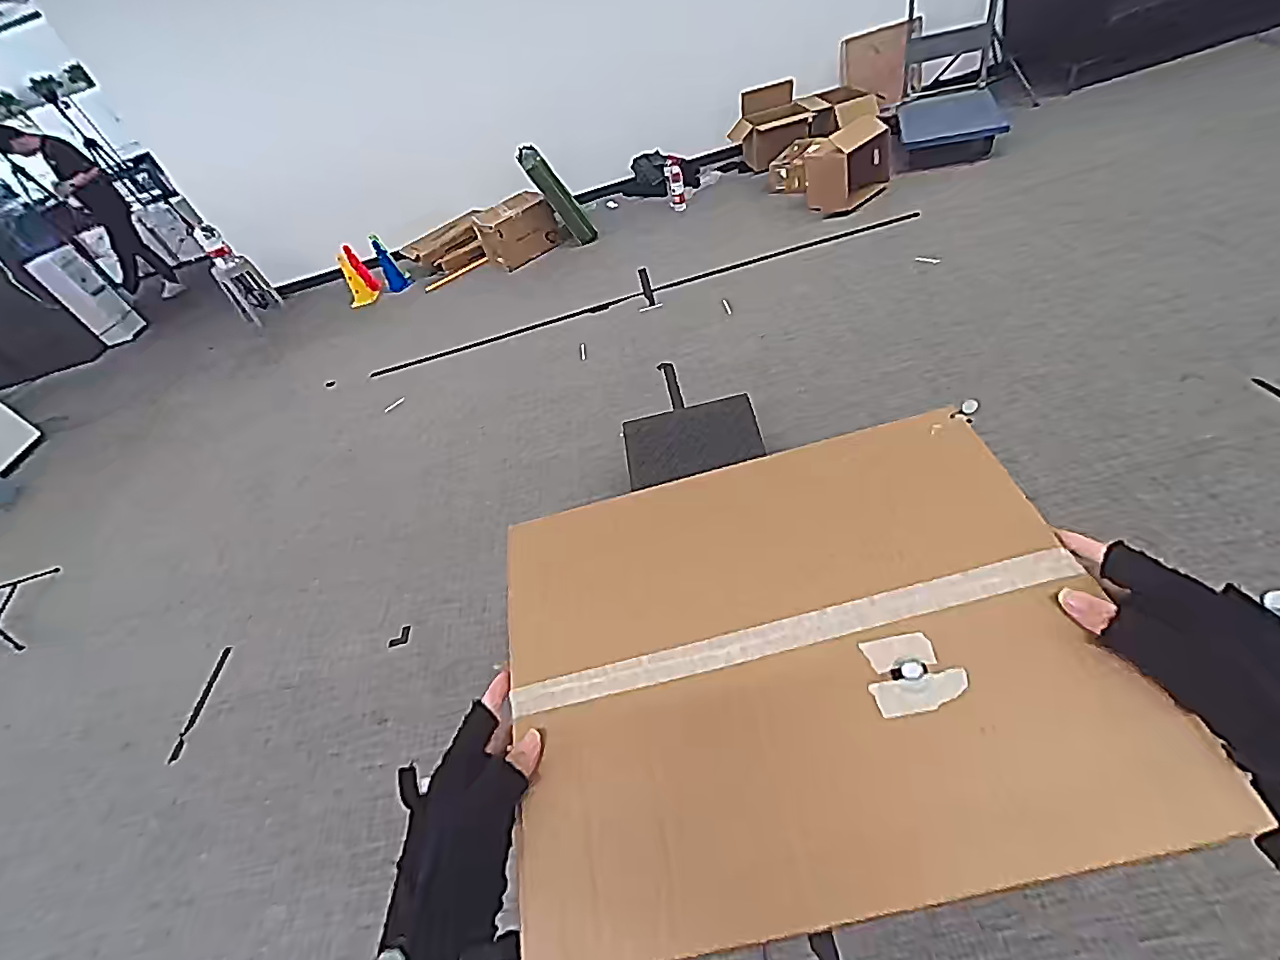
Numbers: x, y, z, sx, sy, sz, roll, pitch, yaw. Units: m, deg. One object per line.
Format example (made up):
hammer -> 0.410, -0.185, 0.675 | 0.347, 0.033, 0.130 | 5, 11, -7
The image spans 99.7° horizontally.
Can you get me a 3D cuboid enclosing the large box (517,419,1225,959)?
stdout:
large box -> 0.134, 0.202, 0.511 | 0.408, 0.320, 0.320 | -15, 53, 3
